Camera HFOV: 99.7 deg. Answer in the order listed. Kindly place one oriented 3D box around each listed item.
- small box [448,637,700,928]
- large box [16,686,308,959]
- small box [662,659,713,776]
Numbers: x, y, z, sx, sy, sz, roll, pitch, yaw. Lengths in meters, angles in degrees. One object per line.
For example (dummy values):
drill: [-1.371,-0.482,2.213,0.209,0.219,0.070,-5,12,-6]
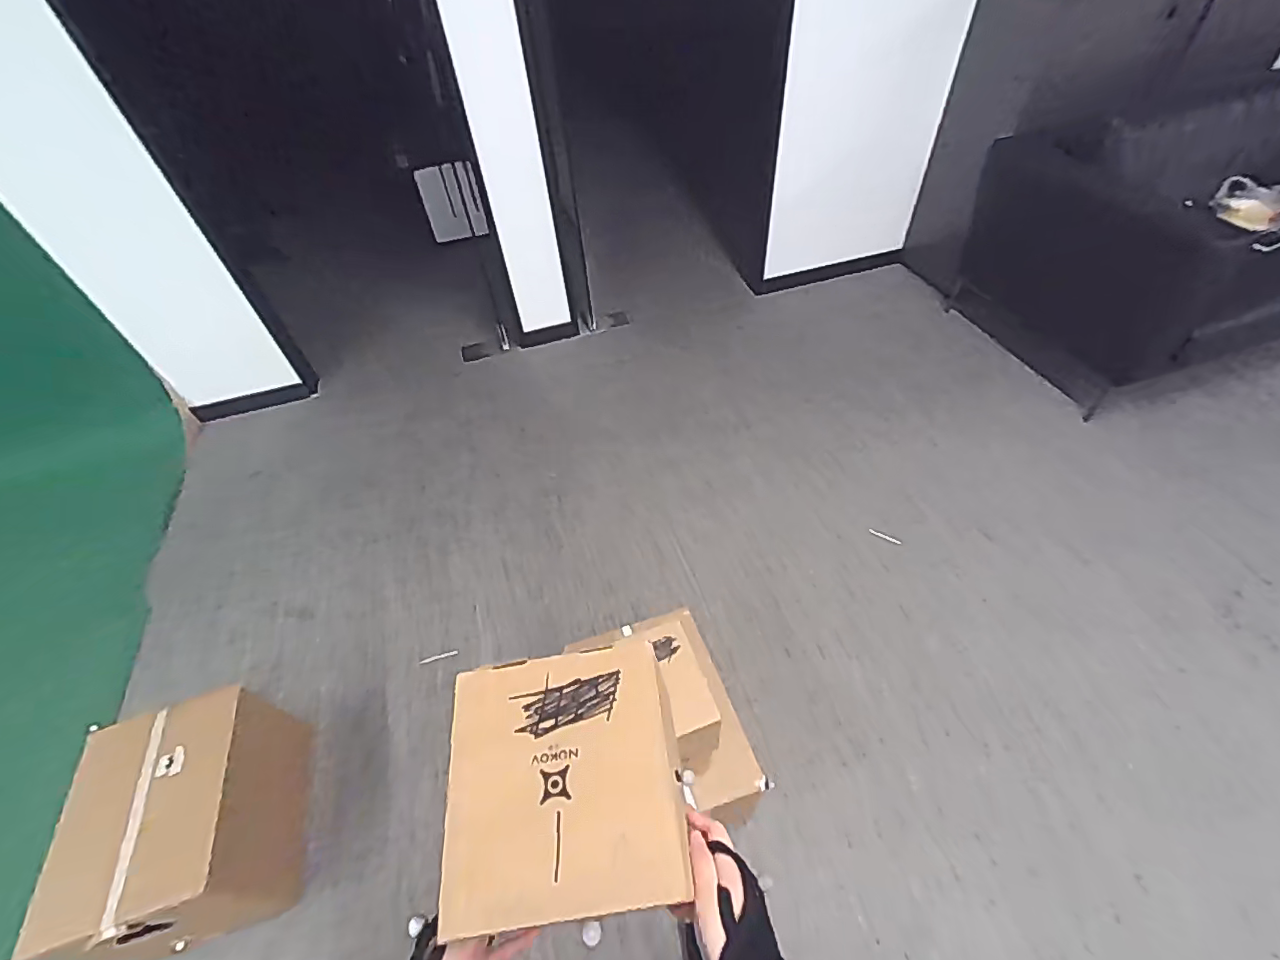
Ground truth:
small box: [-0.046,0.261,0.466,0.168,0.176,0.179,-11,52,2]
large box: [-0.975,0.742,1.180,0.320,0.320,0.408,-16,49,-9]
small box: [0.023,0.470,1.018,0.179,0.176,0.168,-19,50,-9]
